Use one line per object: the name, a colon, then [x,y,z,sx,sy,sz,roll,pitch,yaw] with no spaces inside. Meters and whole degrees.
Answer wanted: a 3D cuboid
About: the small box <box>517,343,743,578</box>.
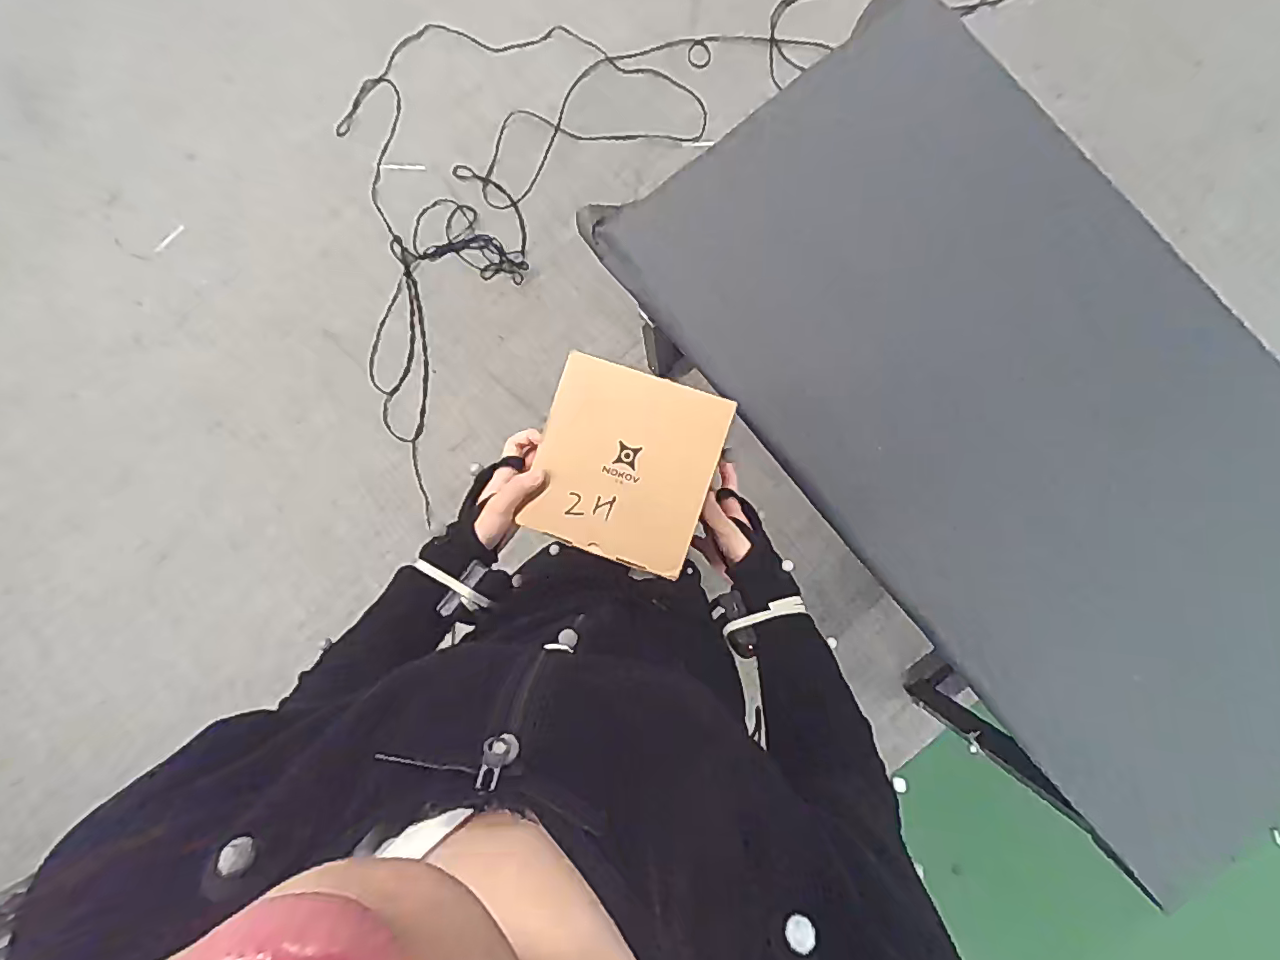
small box: [-0.006,-0.017,0.571,0.168,0.176,0.179,19,89,4]
